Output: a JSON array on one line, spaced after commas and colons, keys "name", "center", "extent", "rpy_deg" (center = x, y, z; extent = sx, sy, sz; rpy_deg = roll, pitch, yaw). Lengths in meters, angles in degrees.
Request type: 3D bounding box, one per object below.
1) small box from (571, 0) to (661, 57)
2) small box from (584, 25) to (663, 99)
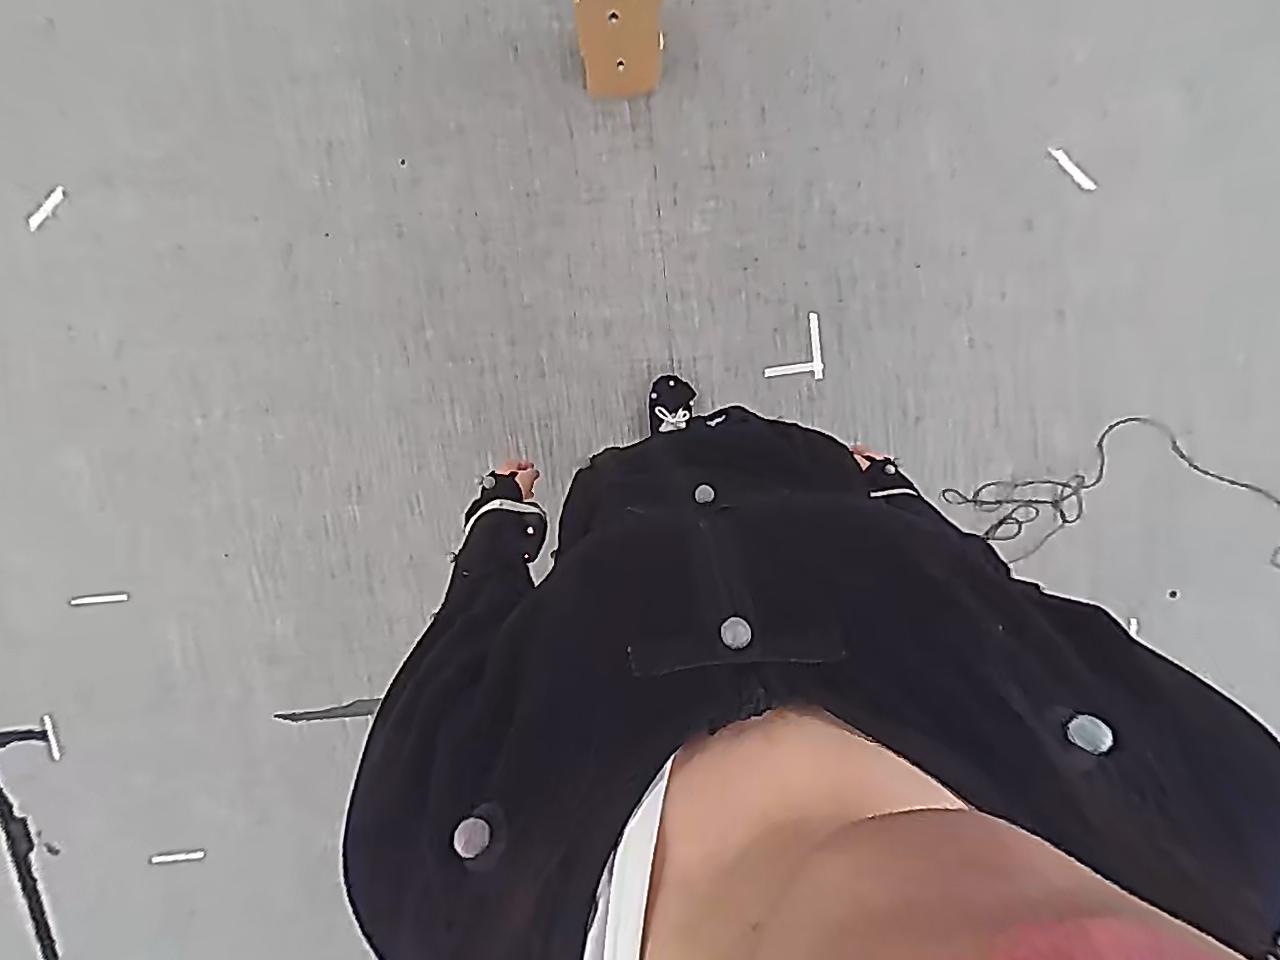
[{"name": "small box", "center": [-0.049, -0.997, 1.096], "extent": [0.179, 0.176, 0.168], "rpy_deg": [-3, 99, -1]}, {"name": "small box", "center": [-0.046, -1.024, 1.259], "extent": [0.179, 0.176, 0.168], "rpy_deg": [-6, 98, 0]}]
